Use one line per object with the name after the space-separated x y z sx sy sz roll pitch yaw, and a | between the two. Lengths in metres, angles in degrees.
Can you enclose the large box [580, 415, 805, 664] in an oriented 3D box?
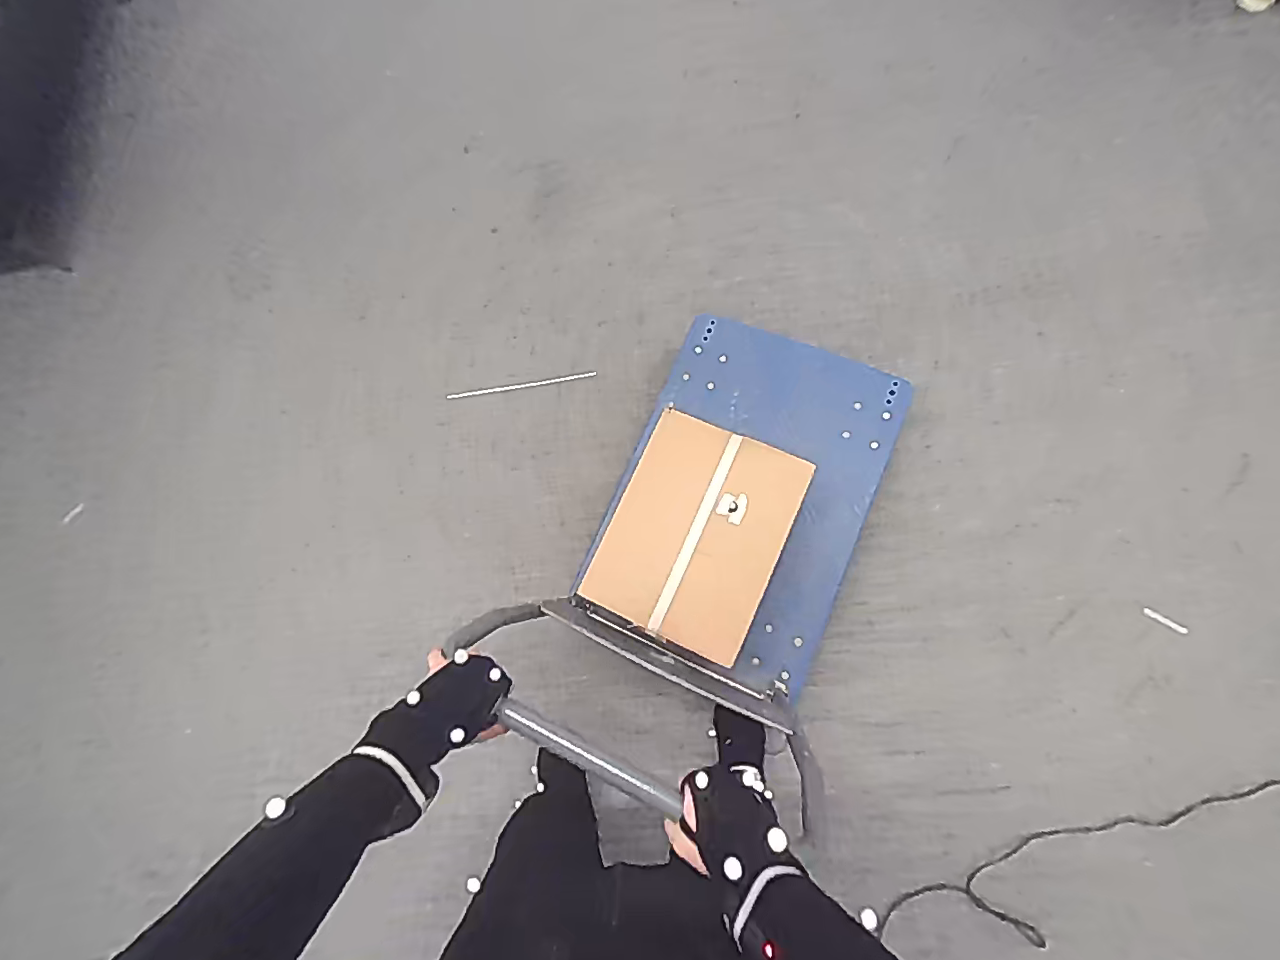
0.121 0.137 1.172 0.320 0.320 0.408 24 80 13 | large box
